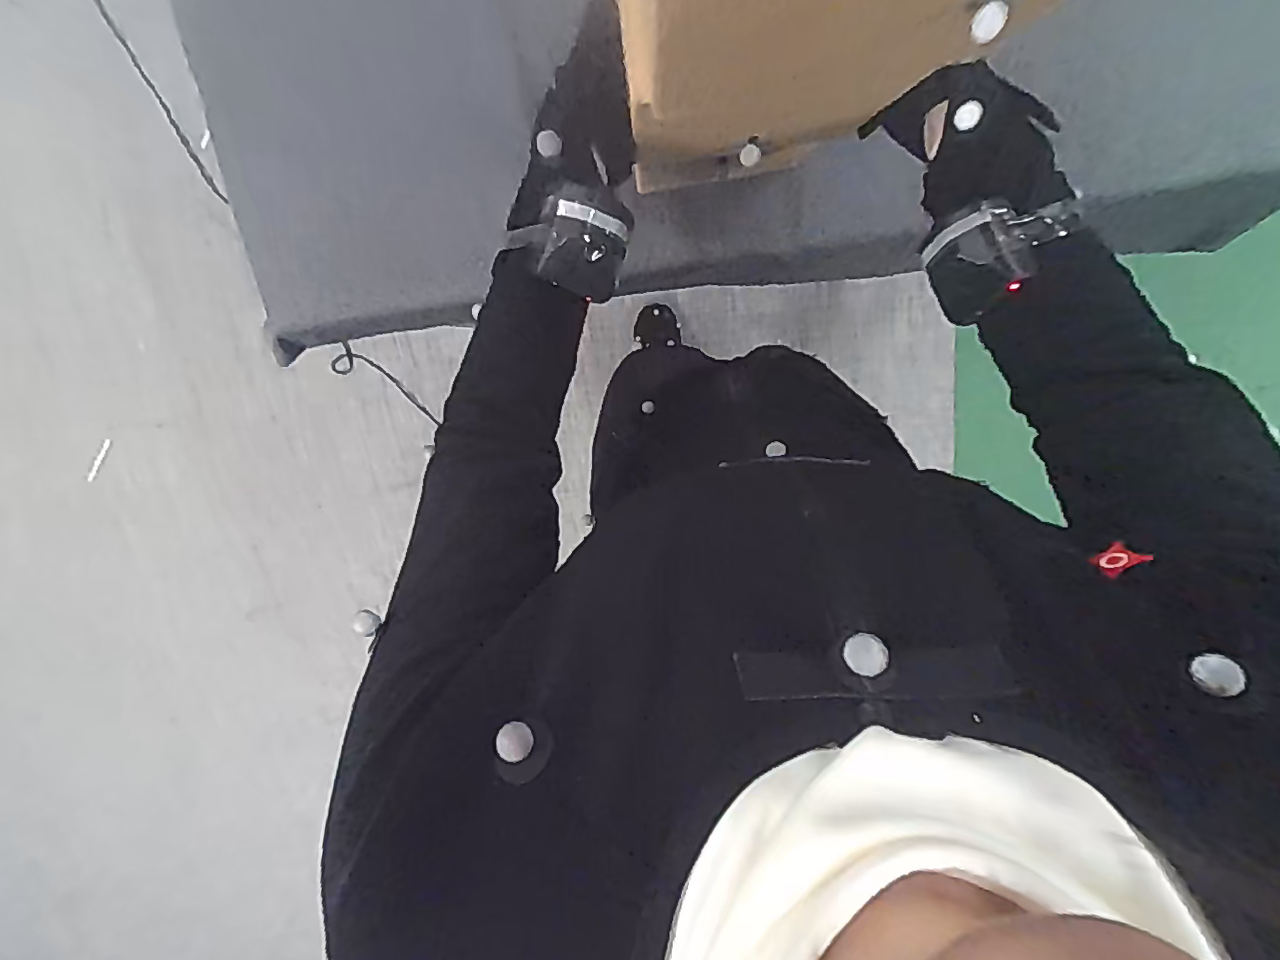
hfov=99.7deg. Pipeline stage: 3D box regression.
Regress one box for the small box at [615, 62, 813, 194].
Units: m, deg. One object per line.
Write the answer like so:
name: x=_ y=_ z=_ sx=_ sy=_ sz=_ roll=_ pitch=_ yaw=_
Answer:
small box: x=0.068 y=-0.383 z=0.501 sx=0.179 sy=0.176 sz=0.168 roll=-8 pitch=105 yaw=4

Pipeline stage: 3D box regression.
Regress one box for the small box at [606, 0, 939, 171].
small box: x=0.067 y=-0.319 z=0.347 sx=0.179 sy=0.176 sz=0.168 roll=-9 pitch=108 yaw=4
